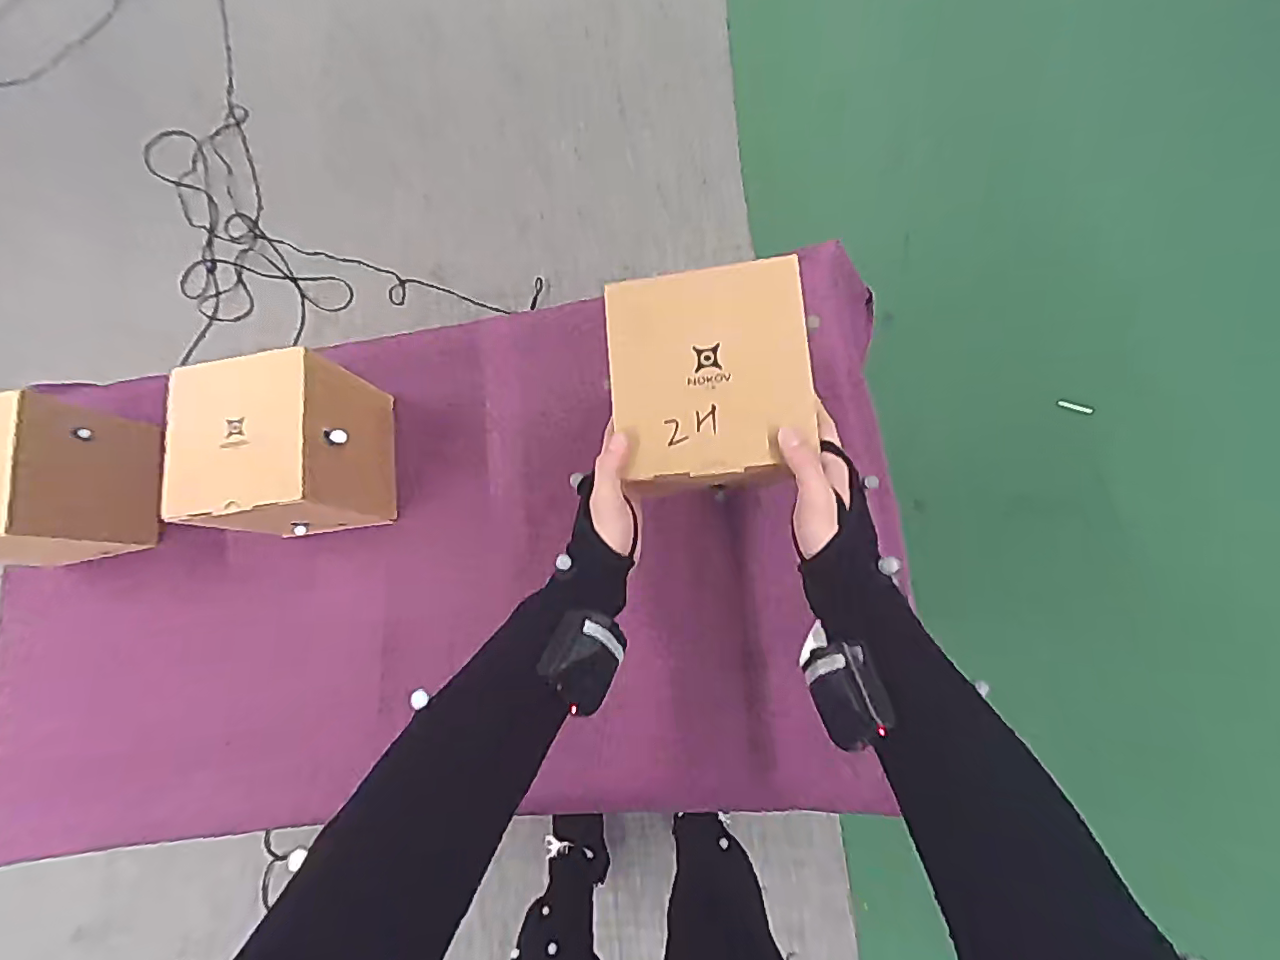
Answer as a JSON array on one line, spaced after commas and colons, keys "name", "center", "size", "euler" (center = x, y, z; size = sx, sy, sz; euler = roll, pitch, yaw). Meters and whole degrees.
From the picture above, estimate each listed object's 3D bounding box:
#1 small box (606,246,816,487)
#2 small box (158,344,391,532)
[{"name": "small box", "center": [0.068, -0.092, 0.520], "size": [0.168, 0.176, 0.179], "euler": [-5, 84, 11]}, {"name": "small box", "center": [-0.423, -0.039, 0.653], "size": [0.168, 0.176, 0.179], "euler": [-8, 79, 7]}]
